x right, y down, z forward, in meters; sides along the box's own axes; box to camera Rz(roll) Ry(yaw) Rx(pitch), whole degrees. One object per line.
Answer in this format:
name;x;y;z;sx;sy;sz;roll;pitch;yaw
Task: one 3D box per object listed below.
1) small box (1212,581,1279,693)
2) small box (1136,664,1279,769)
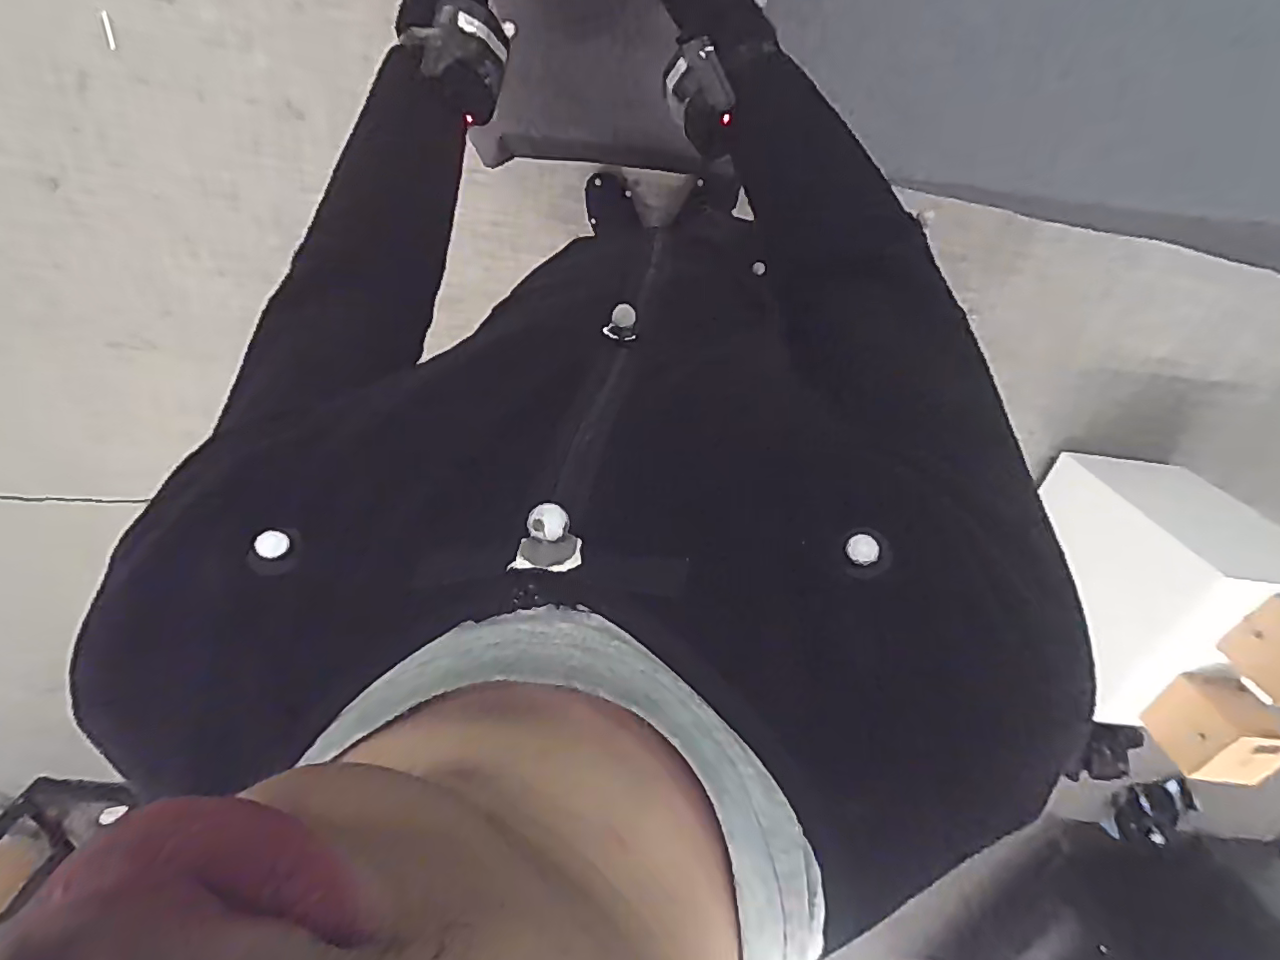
small box;1.432;0.349;1.180;0.168;0.176;0.179;9;122;-8
small box;1.383;0.572;1.316;0.168;0.176;0.179;6;122;-5
